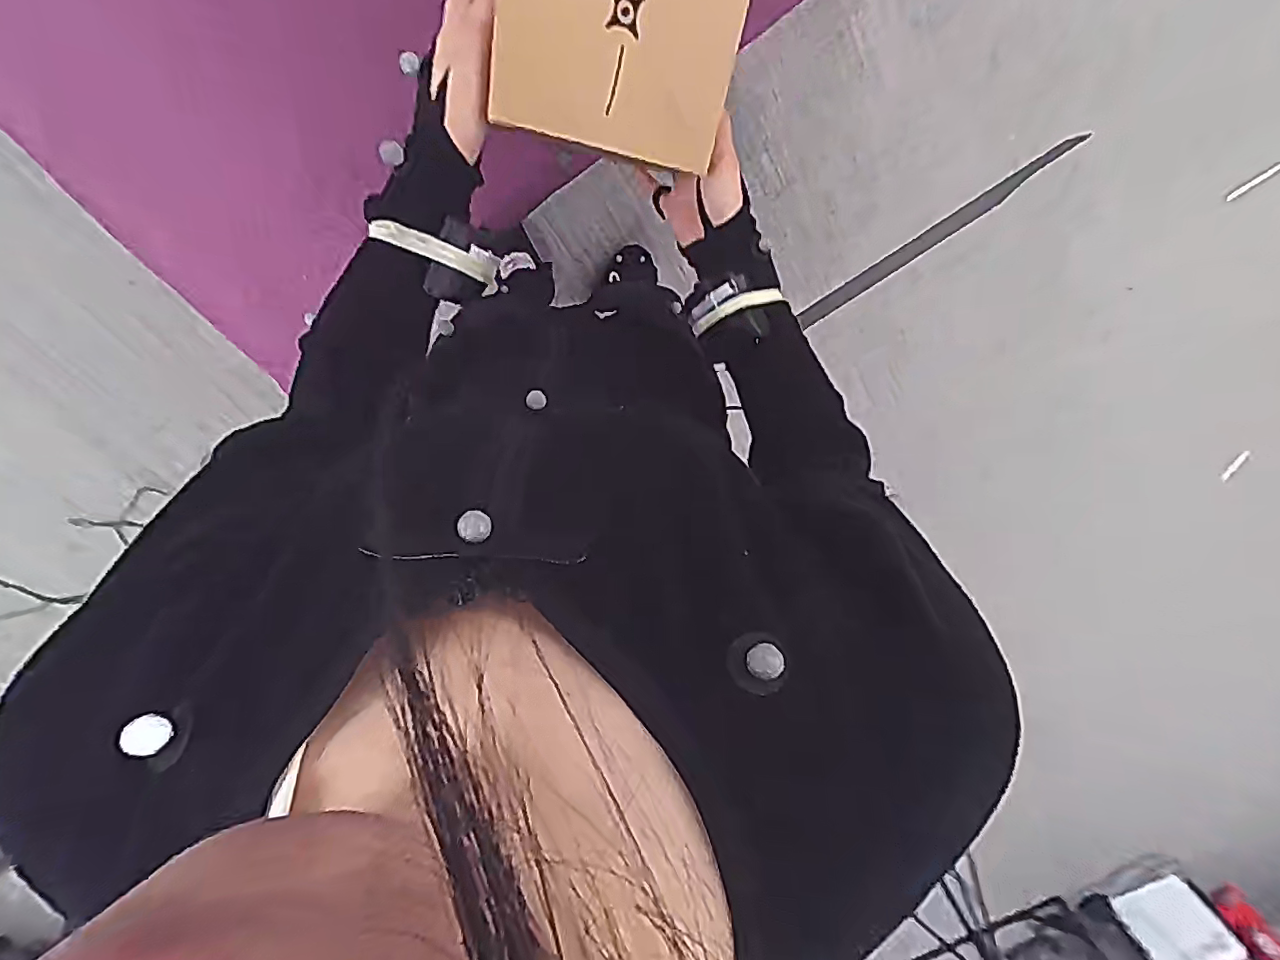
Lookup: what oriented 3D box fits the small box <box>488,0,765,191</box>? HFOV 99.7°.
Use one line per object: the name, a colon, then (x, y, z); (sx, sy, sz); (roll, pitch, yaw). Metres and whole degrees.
small box: (-0.023, -0.343, 0.416); (0.168, 0.176, 0.179); (4, 119, -21)
